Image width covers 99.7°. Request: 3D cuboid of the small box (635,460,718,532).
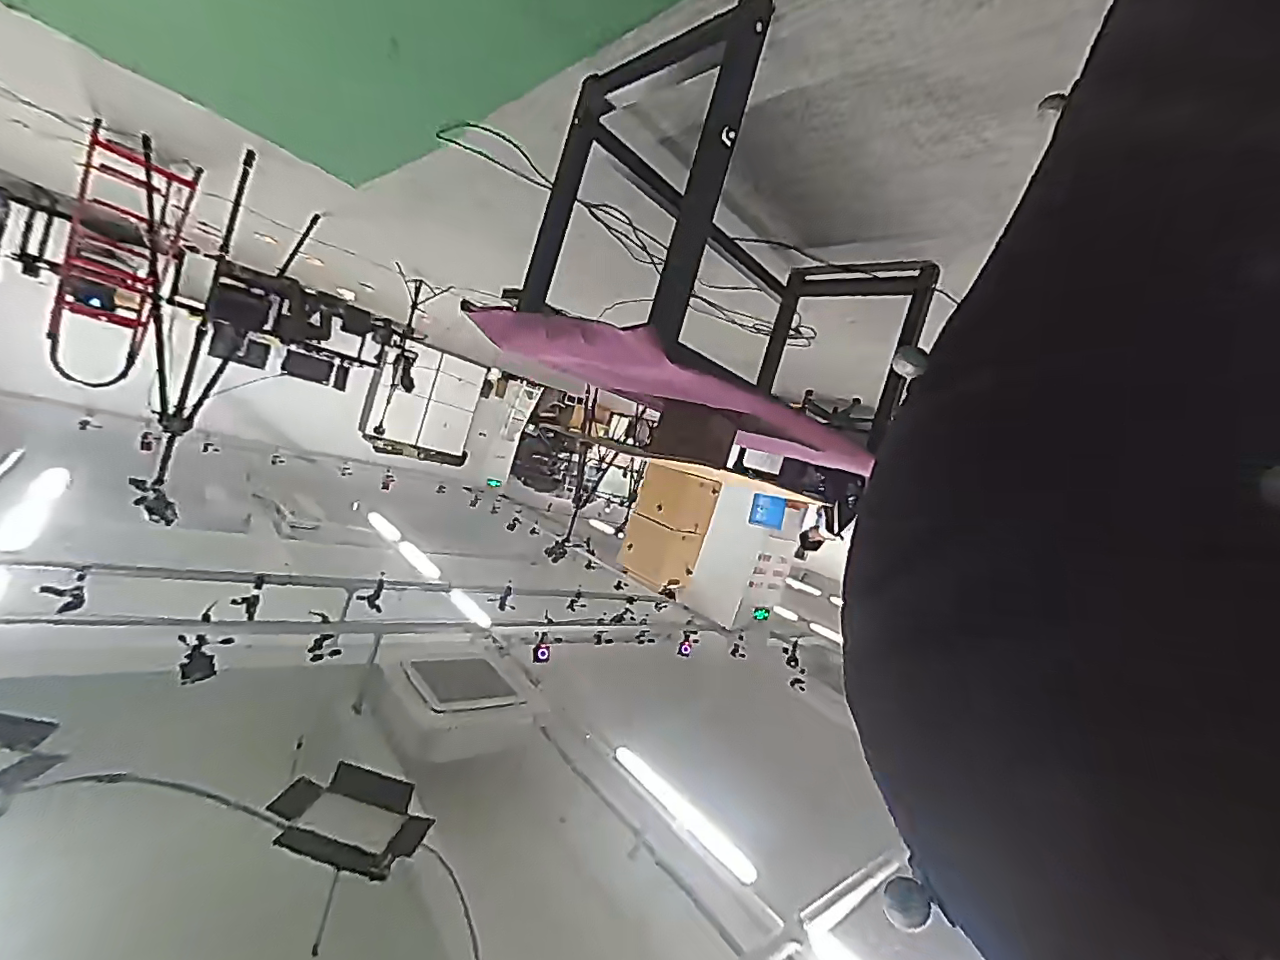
[{"bbox_3d":[0.117,0.045,1.638,0.179,0.176,0.168,22,-175,43],"label":"small box"}]
